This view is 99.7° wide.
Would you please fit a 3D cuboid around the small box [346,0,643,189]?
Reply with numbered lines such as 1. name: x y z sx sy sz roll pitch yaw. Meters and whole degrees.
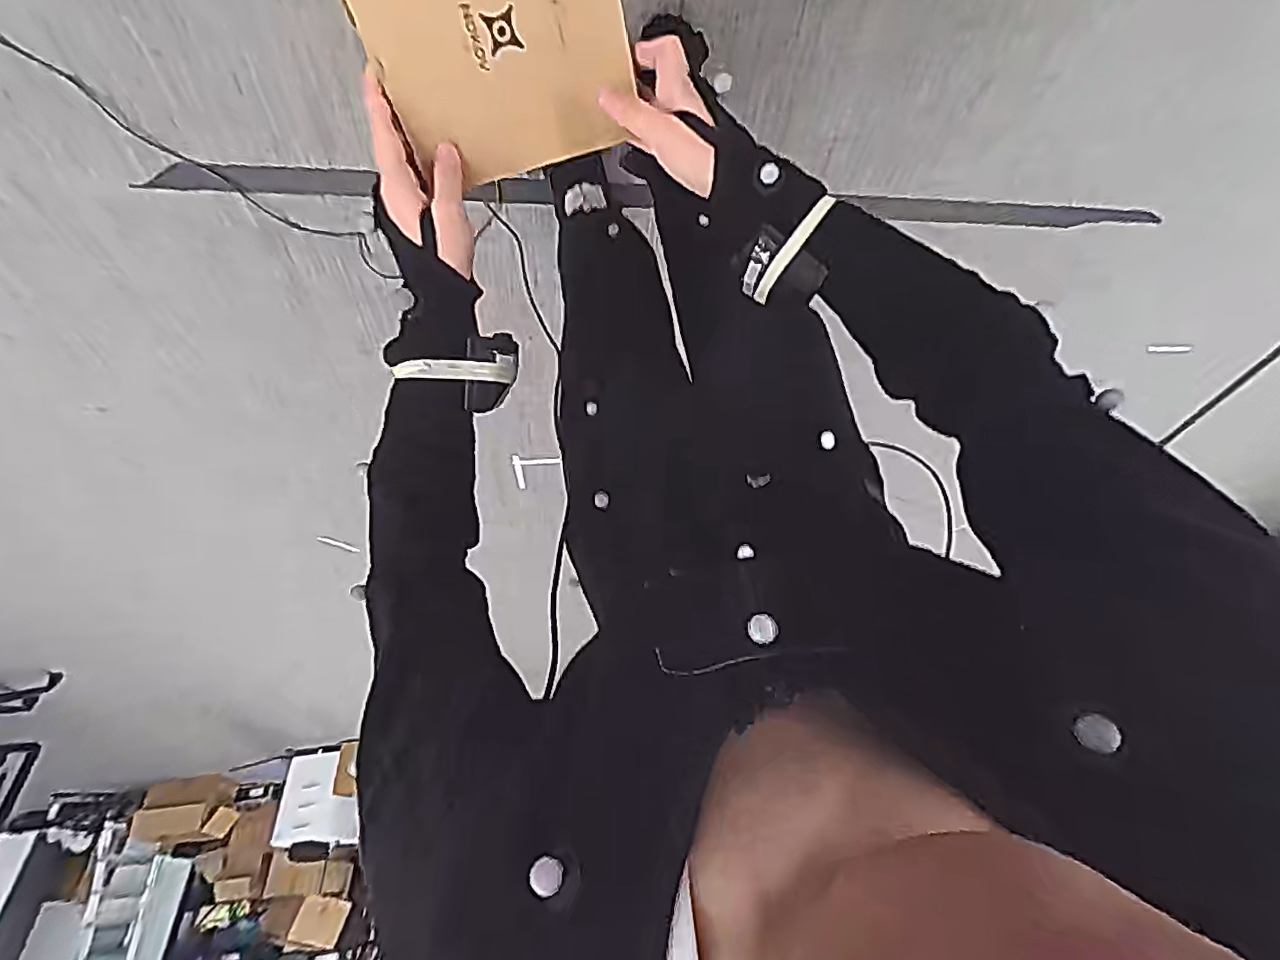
1. small box: -0.110 -0.356 0.423 0.179 0.176 0.168 -16 134 0
